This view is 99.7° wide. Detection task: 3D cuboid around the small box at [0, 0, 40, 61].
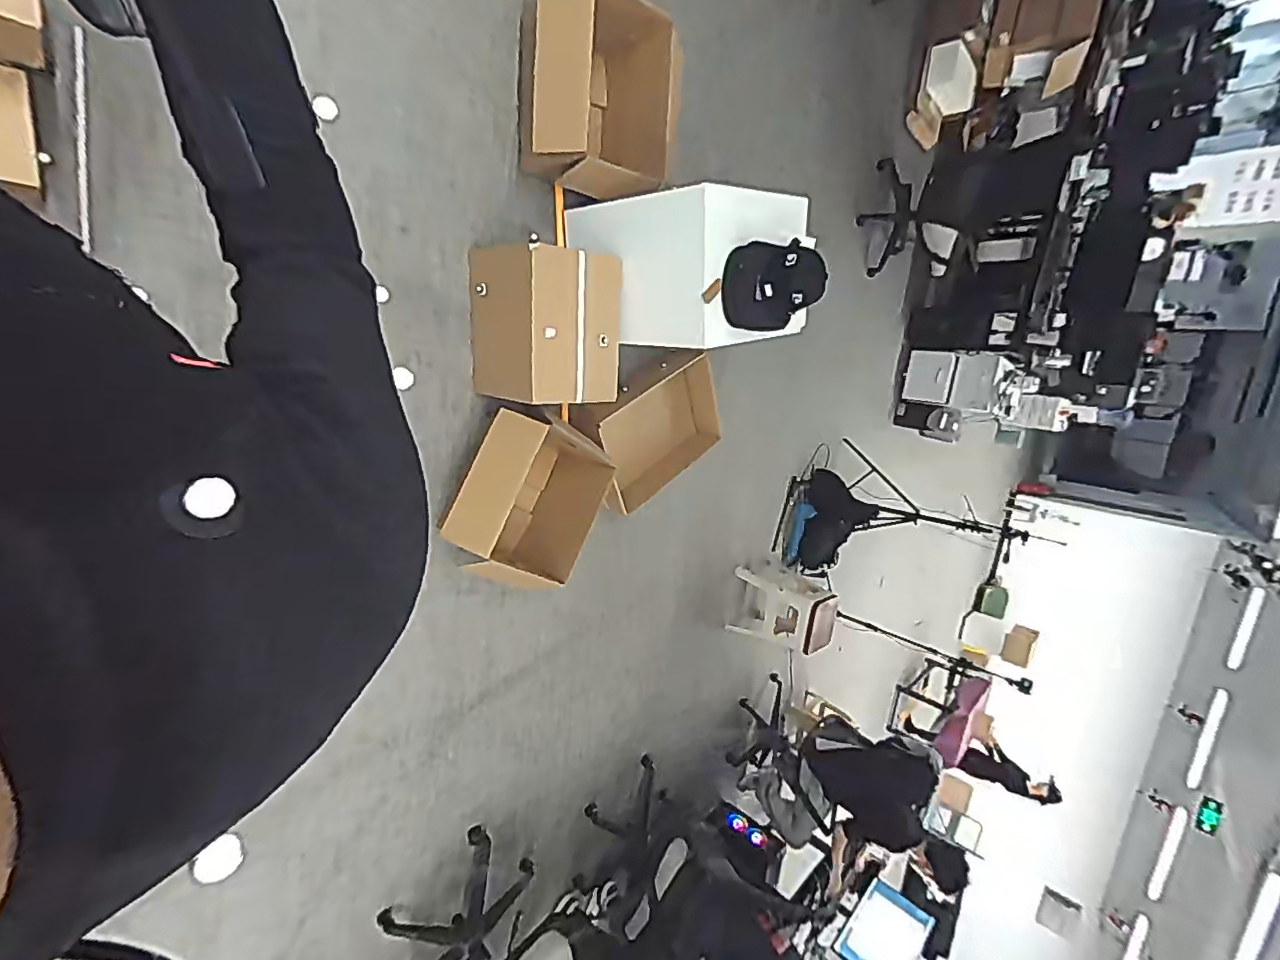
[{"bbox_3d":[-0.904,-0.690,0.695,0.168,0.176,0.179,-7,106,-47],"label":"small box"}]
